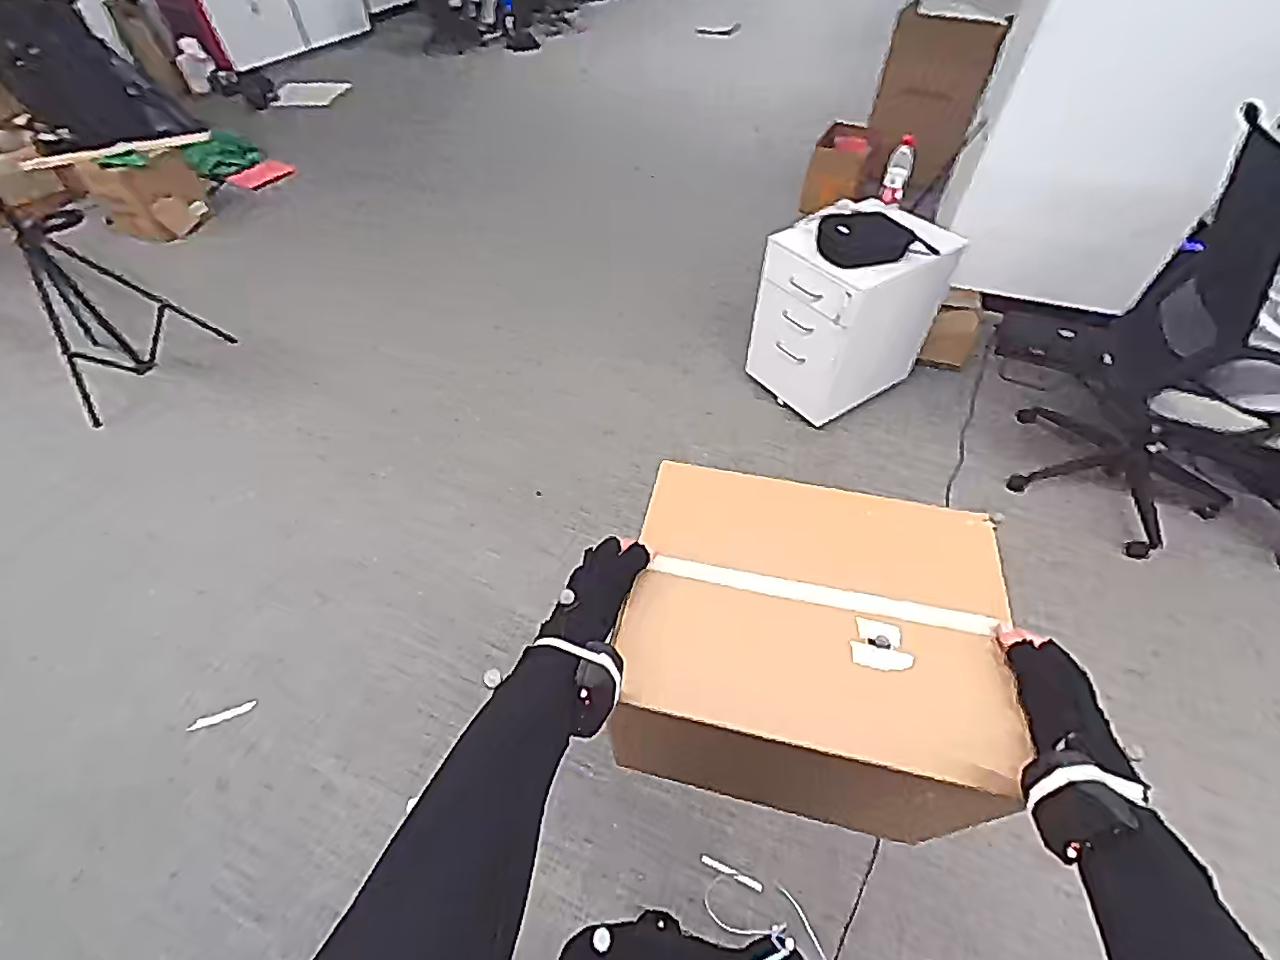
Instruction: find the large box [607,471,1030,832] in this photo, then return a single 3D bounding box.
[{"bbox_3d":[0.192,0.226,0.718,0.408,0.320,0.320,10,53,10],"label":"large box"}]
